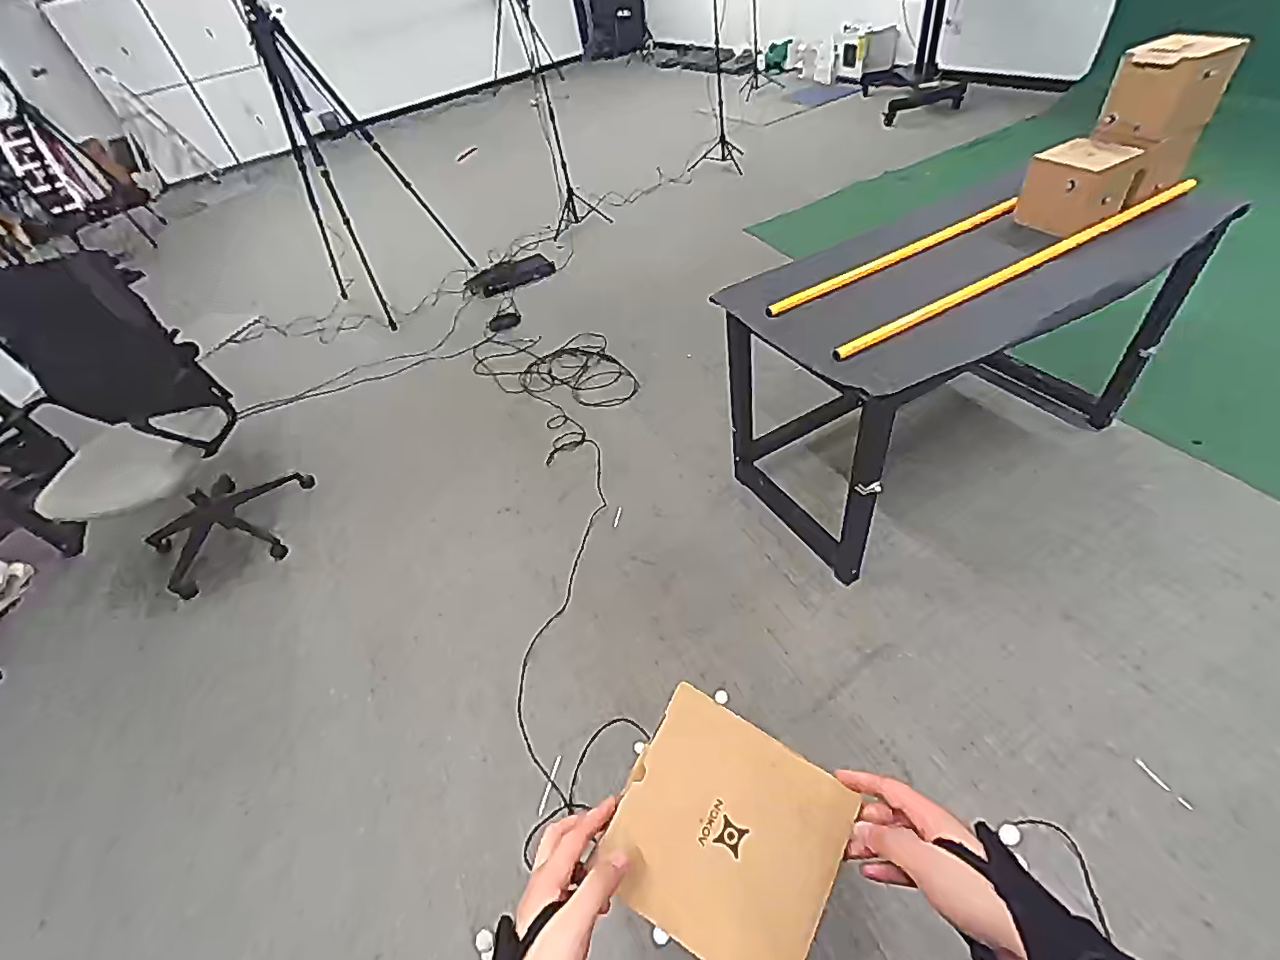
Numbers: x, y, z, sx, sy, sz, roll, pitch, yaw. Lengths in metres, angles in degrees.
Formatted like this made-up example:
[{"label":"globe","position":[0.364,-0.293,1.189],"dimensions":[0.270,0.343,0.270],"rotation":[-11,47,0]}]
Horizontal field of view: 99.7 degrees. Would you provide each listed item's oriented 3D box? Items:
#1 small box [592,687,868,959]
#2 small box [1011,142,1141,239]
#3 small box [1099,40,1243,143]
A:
[{"label":"small box","position":[0.079,0.321,0.512],"dimensions":[0.179,0.176,0.168],"rotation":[27,68,15]},{"label":"small box","position":[1.127,-0.752,1.414],"dimensions":[0.168,0.176,0.179],"rotation":[-24,47,-11]},{"label":"small box","position":[1.300,-0.964,1.345],"dimensions":[0.179,0.176,0.168],"rotation":[-23,47,-9]}]
